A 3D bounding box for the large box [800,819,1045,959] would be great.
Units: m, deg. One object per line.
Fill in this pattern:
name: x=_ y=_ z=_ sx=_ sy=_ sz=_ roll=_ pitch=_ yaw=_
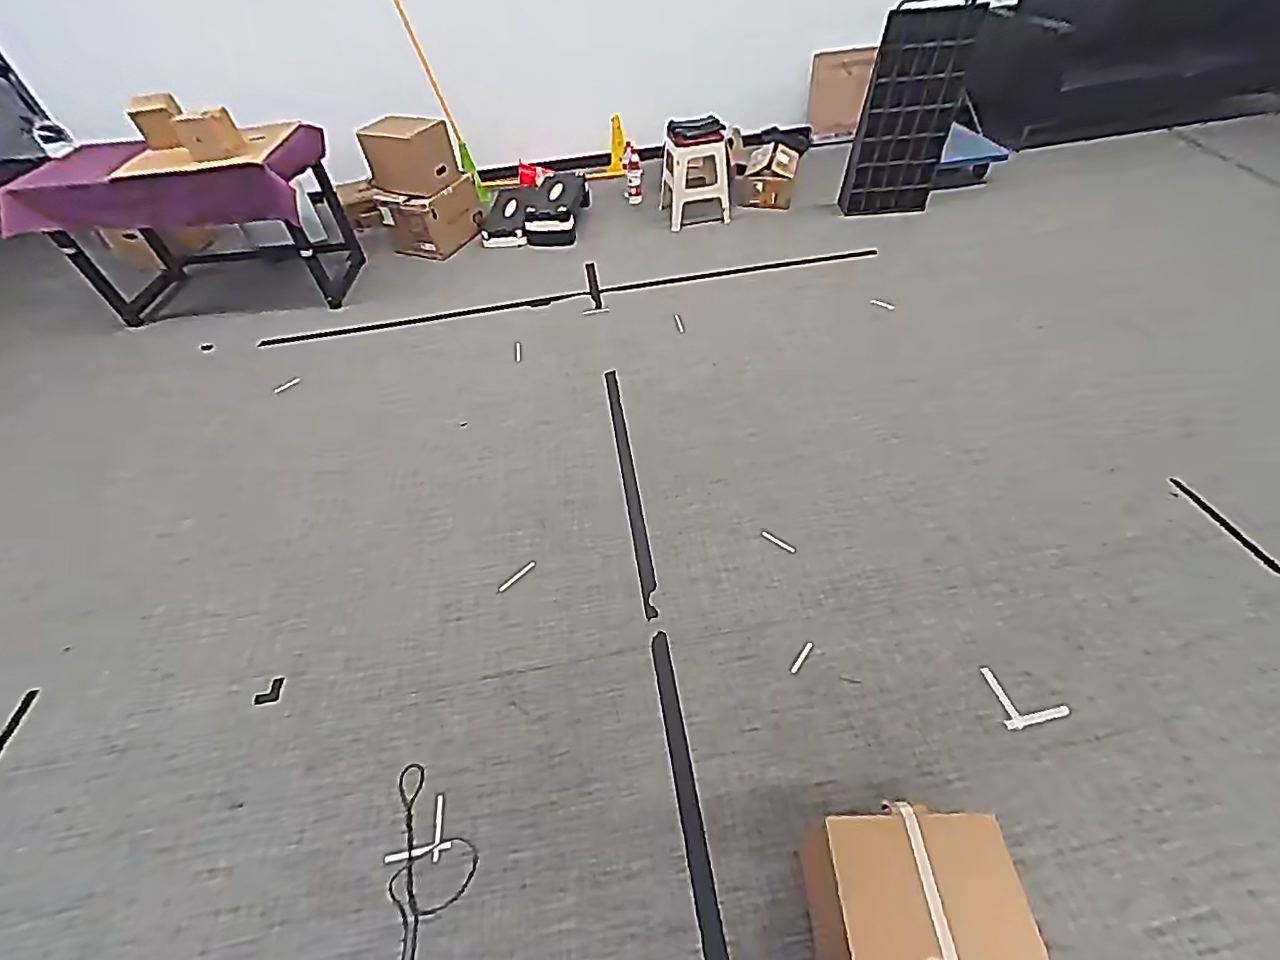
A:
large box: x=0.512 y=0.884 z=0.992 sx=0.320 sy=0.320 sz=0.408 roll=-3 pitch=49 yaw=2
